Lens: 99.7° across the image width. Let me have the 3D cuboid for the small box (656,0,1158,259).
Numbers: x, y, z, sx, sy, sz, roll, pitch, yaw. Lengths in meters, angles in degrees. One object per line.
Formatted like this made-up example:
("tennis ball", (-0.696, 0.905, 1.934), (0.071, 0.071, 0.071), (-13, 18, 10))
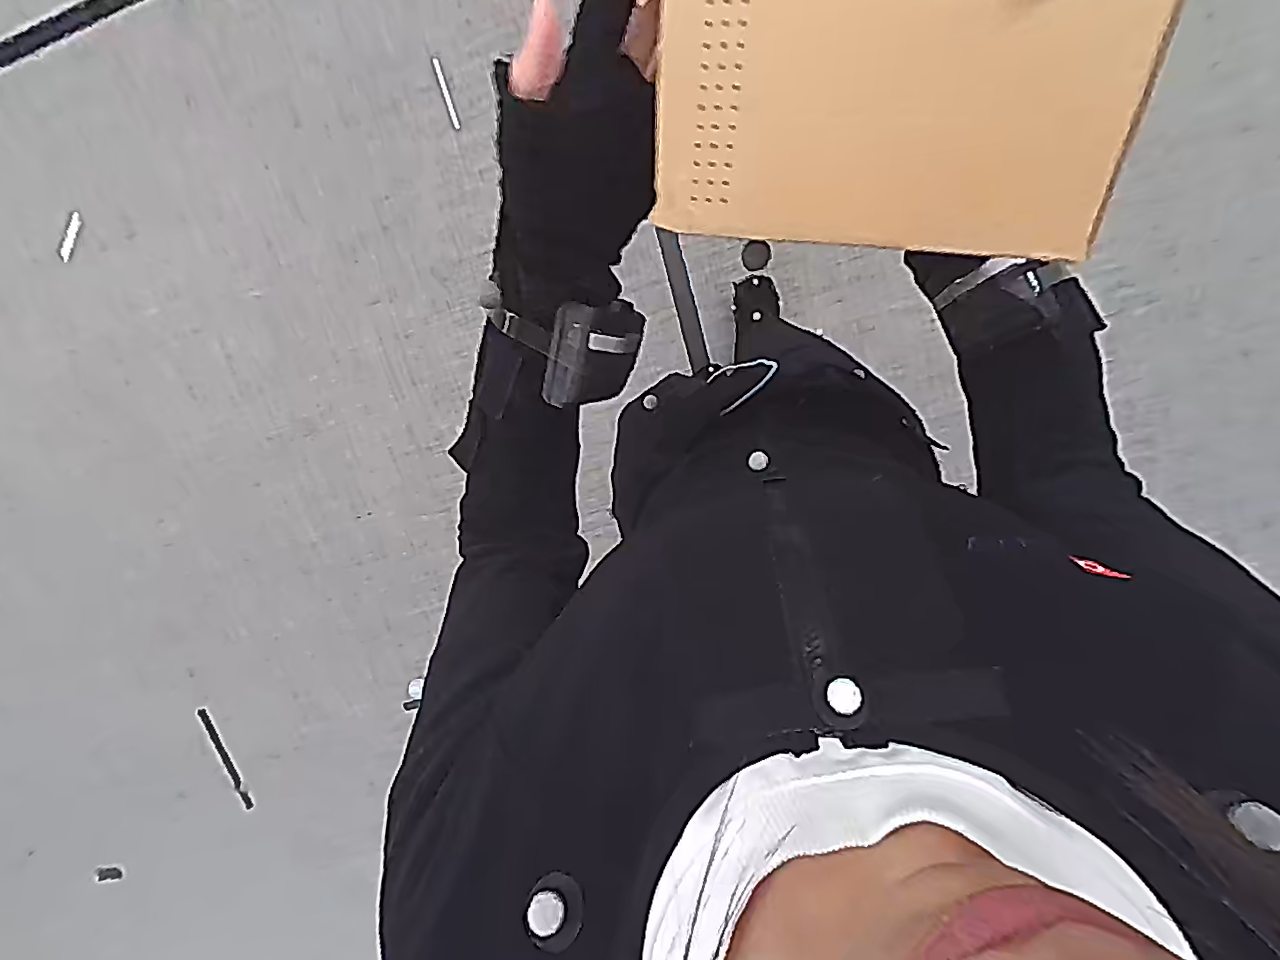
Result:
("small box", (0.109, -0.207, 0.260), (0.176, 0.168, 0.179), (11, 117, 15))
